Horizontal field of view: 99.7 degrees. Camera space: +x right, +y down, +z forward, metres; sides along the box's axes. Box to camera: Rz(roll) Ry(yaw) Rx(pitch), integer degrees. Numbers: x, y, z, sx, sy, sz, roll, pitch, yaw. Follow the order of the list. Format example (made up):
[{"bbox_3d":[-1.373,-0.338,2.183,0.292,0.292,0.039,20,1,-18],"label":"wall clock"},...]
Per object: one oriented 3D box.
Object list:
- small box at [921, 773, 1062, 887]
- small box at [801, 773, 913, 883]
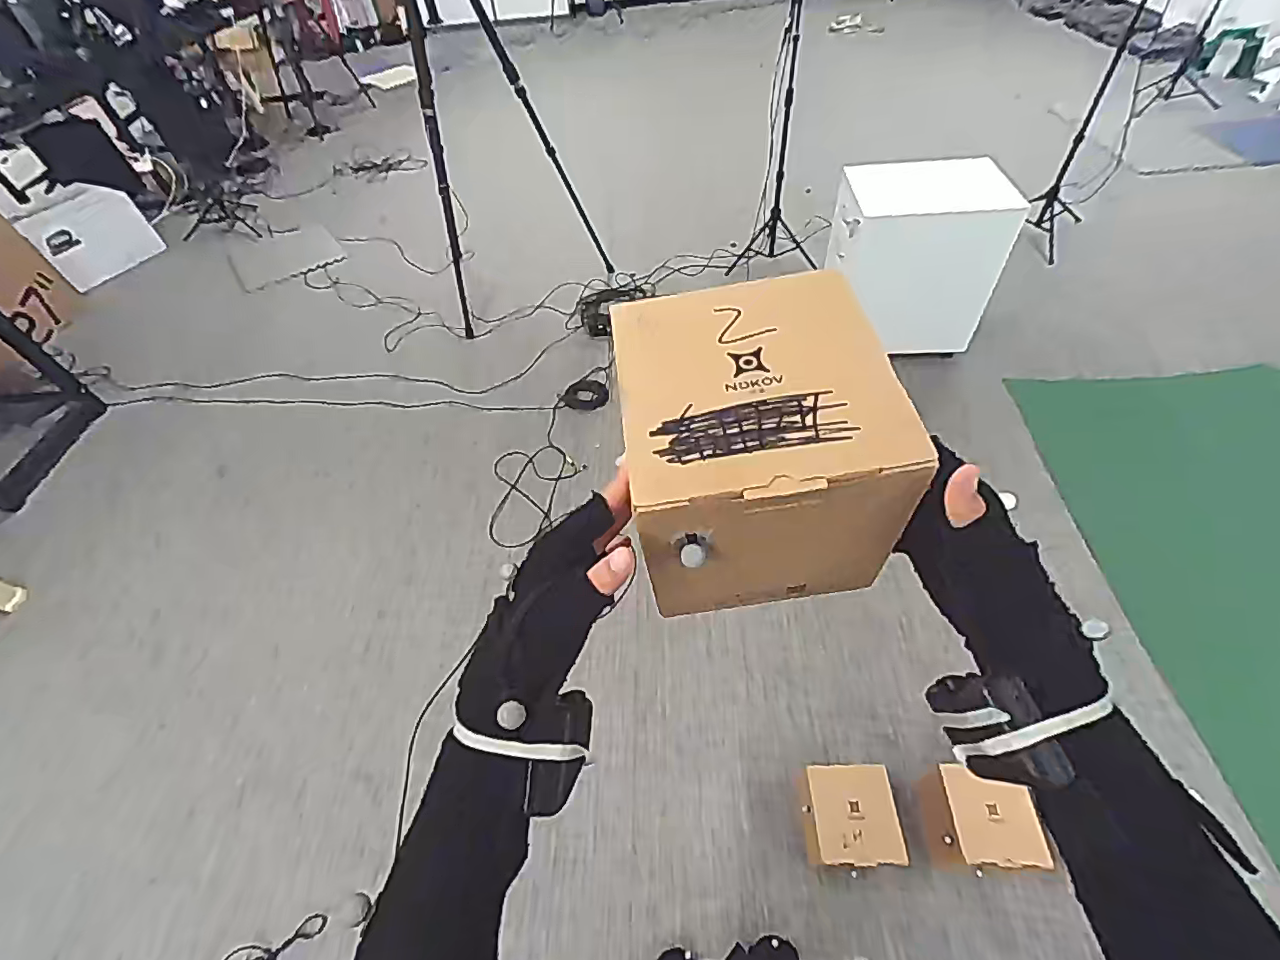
[{"bbox_3d":[0.712,0.728,1.123,0.168,0.176,0.179,-1,51,5],"label":"small box"},{"bbox_3d":[0.444,0.735,1.140,0.168,0.176,0.179,-3,50,5],"label":"small box"}]
